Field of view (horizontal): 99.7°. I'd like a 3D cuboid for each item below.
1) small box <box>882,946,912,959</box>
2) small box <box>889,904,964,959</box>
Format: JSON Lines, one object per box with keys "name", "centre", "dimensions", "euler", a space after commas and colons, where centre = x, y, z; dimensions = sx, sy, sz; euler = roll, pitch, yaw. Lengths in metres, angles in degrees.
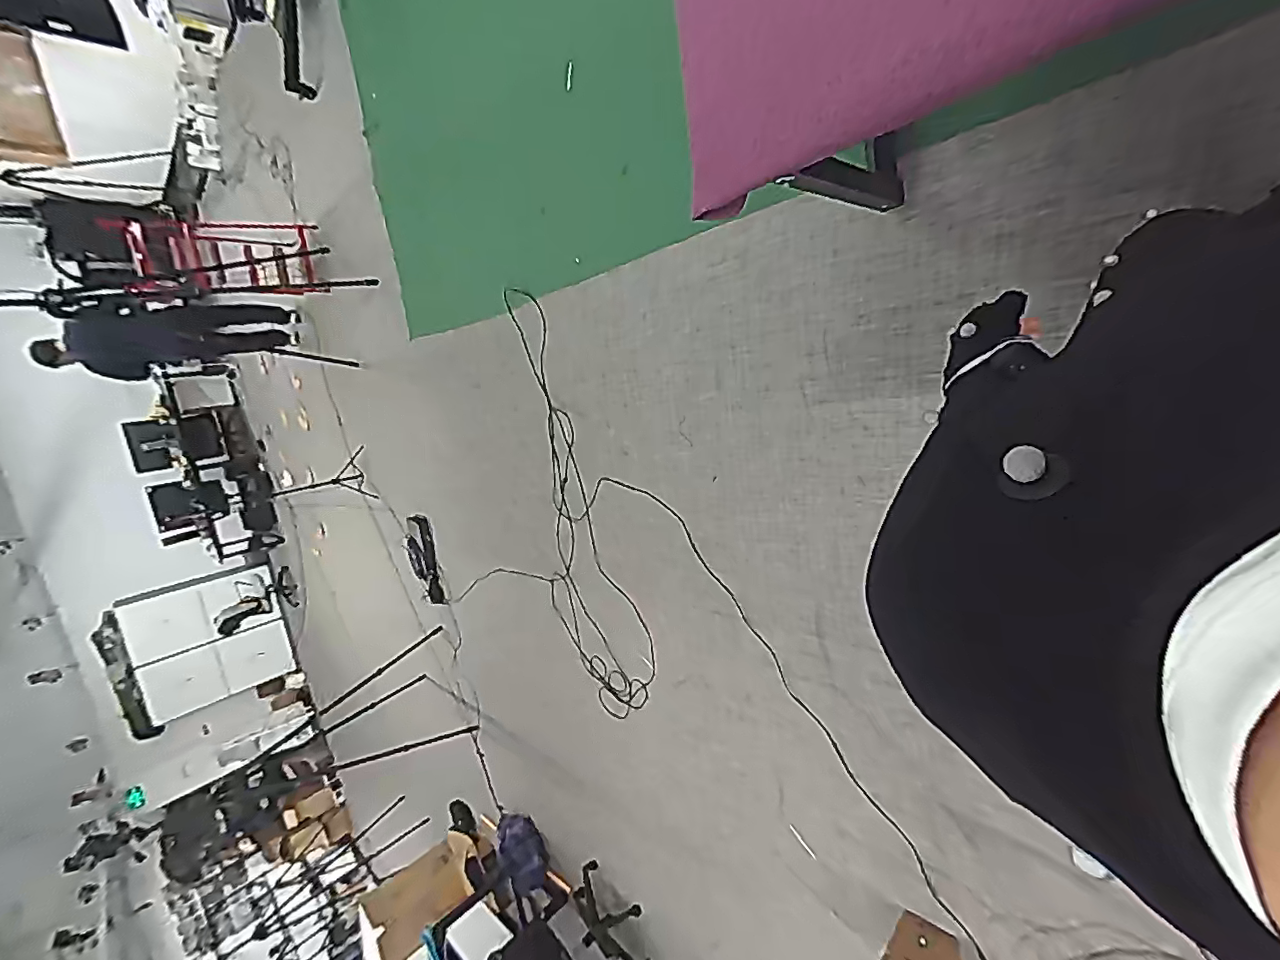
{"name": "small box", "centre": [0.790, 1.552, 1.596], "dimensions": [0.168, 0.176, 0.179], "euler": [4, 108, 44]}
{"name": "small box", "centre": [0.907, 1.508, 1.707], "dimensions": [0.168, 0.176, 0.179], "euler": [0, 103, 48]}
